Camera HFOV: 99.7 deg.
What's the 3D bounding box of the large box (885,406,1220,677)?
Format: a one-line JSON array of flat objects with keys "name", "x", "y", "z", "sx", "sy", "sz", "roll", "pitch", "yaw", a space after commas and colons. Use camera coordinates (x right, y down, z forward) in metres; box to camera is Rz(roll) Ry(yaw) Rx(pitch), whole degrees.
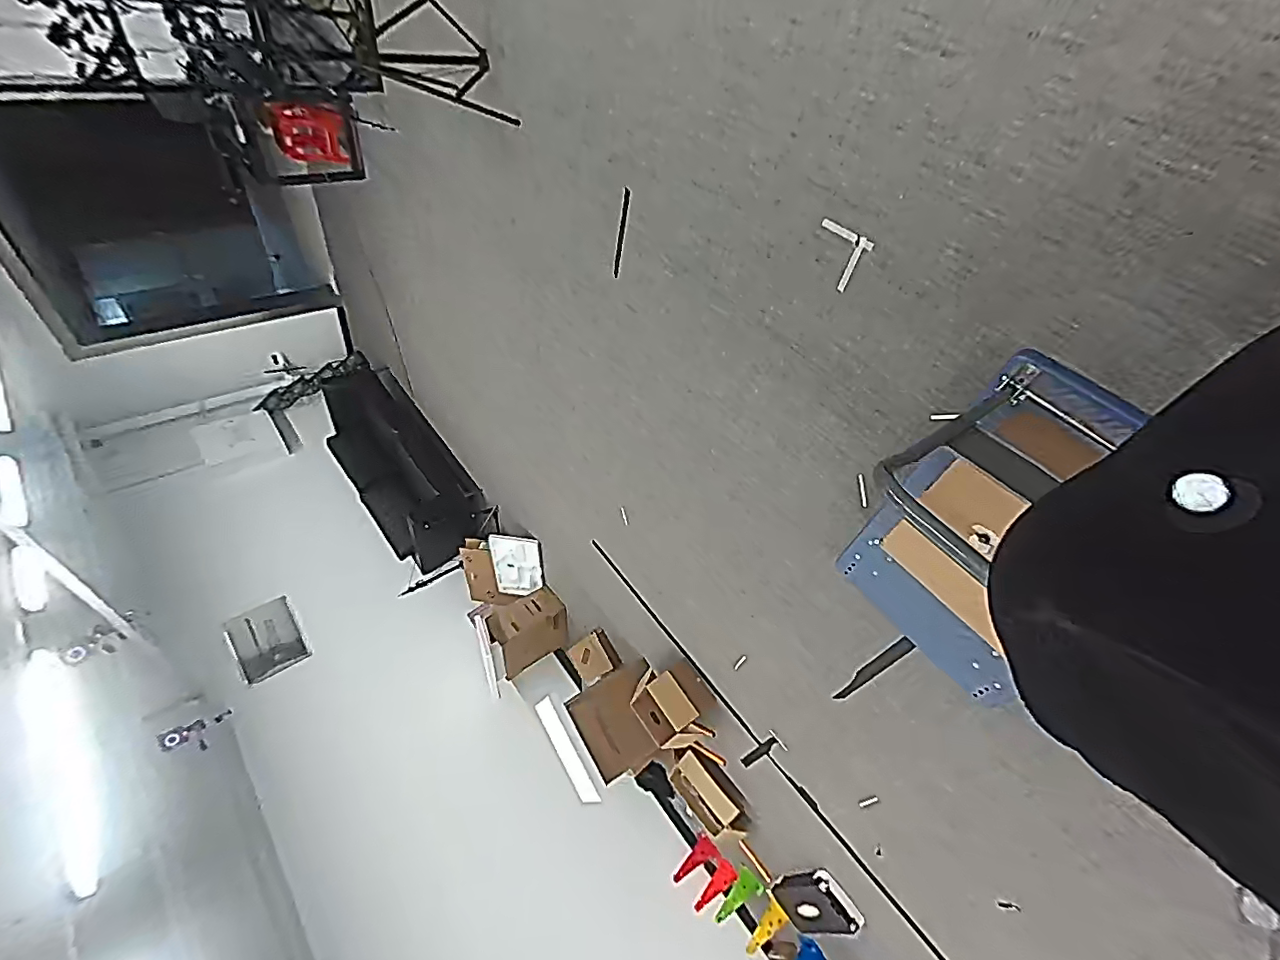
[{"name": "large box", "x": 0.828, "y": 0.116, "z": 1.130, "sx": 0.408, "sy": 0.320, "sz": 0.320, "roll": 48, "pitch": 145, "yaw": 26}]
